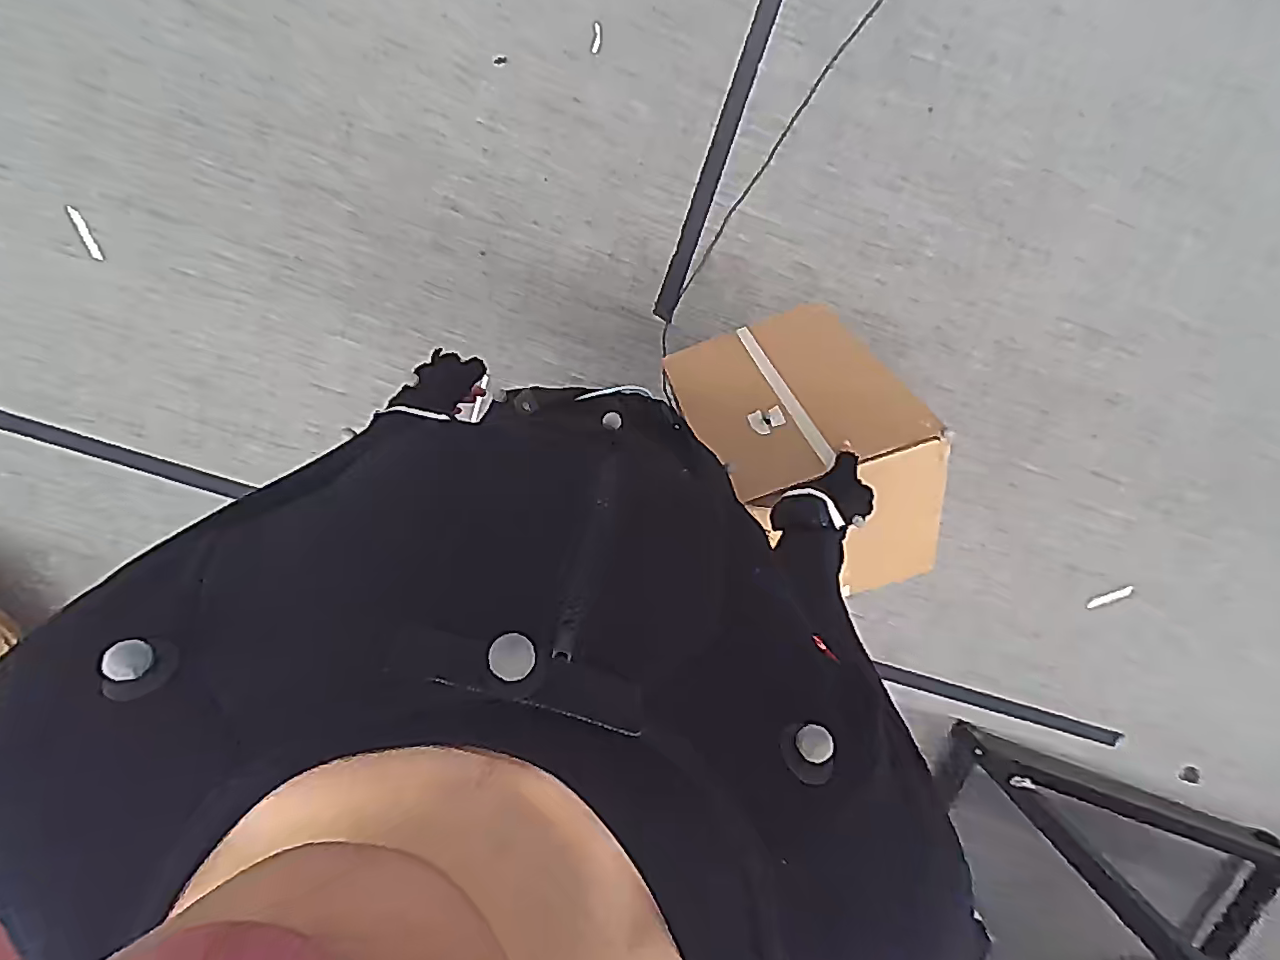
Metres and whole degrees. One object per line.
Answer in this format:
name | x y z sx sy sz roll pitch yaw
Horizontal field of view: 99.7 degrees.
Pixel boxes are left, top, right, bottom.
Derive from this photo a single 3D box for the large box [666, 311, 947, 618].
large box | 0.267 -0.034 0.967 0.320 0.408 0.320 -19 134 5
